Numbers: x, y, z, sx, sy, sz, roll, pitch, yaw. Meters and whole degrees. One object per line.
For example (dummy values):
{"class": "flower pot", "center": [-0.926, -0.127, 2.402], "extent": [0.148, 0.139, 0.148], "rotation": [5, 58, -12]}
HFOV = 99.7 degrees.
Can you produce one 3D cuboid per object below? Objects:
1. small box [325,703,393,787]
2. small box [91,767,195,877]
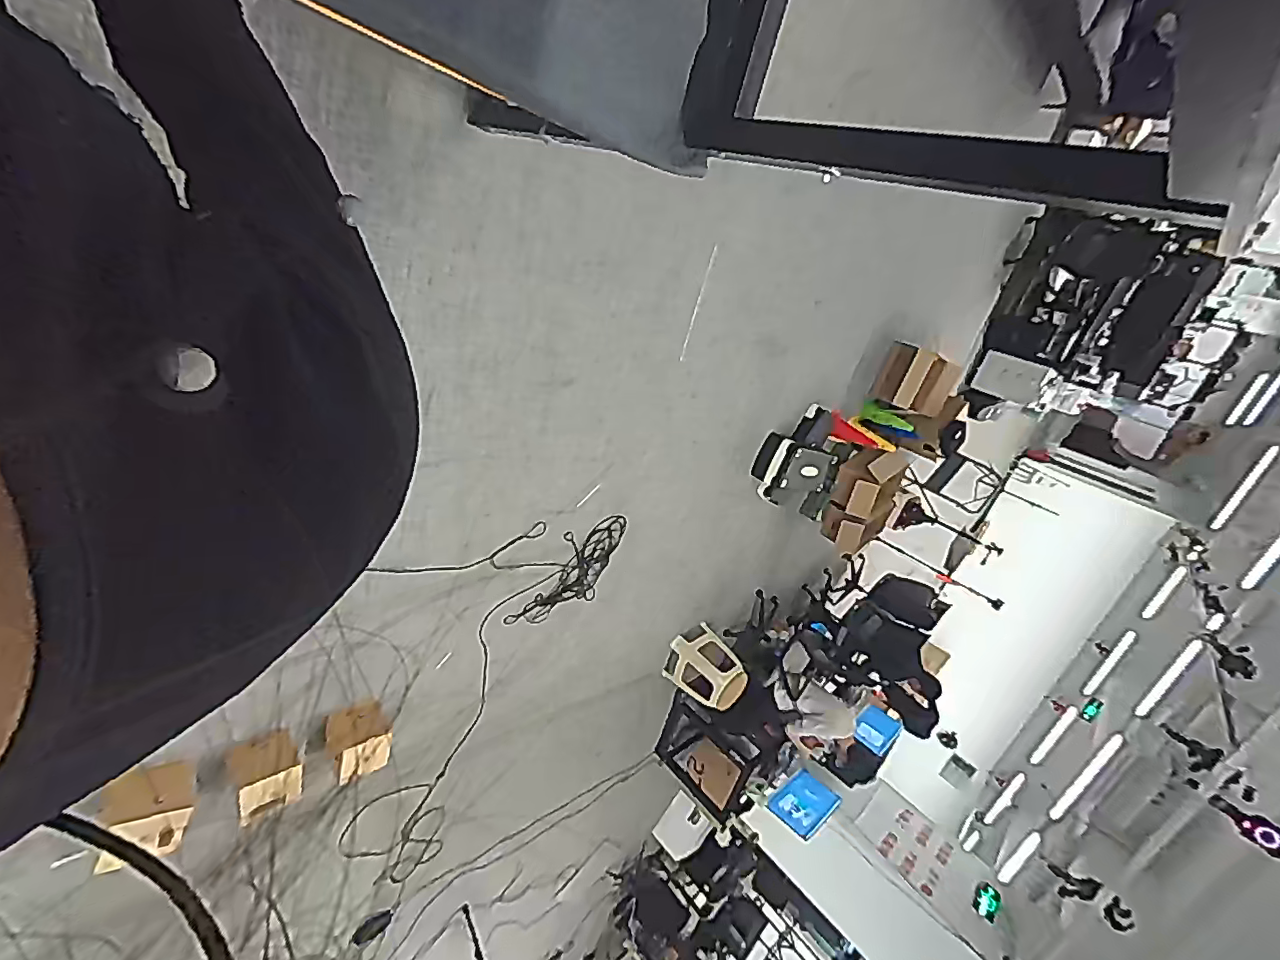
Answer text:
{"class": "small box", "center": [-1.011, 0.941, 1.935], "extent": [0.168, 0.176, 0.179], "rotation": [-6, 120, -47]}
{"class": "small box", "center": [-1.382, 0.936, 1.501], "extent": [0.179, 0.176, 0.168], "rotation": [15, 104, -51]}
